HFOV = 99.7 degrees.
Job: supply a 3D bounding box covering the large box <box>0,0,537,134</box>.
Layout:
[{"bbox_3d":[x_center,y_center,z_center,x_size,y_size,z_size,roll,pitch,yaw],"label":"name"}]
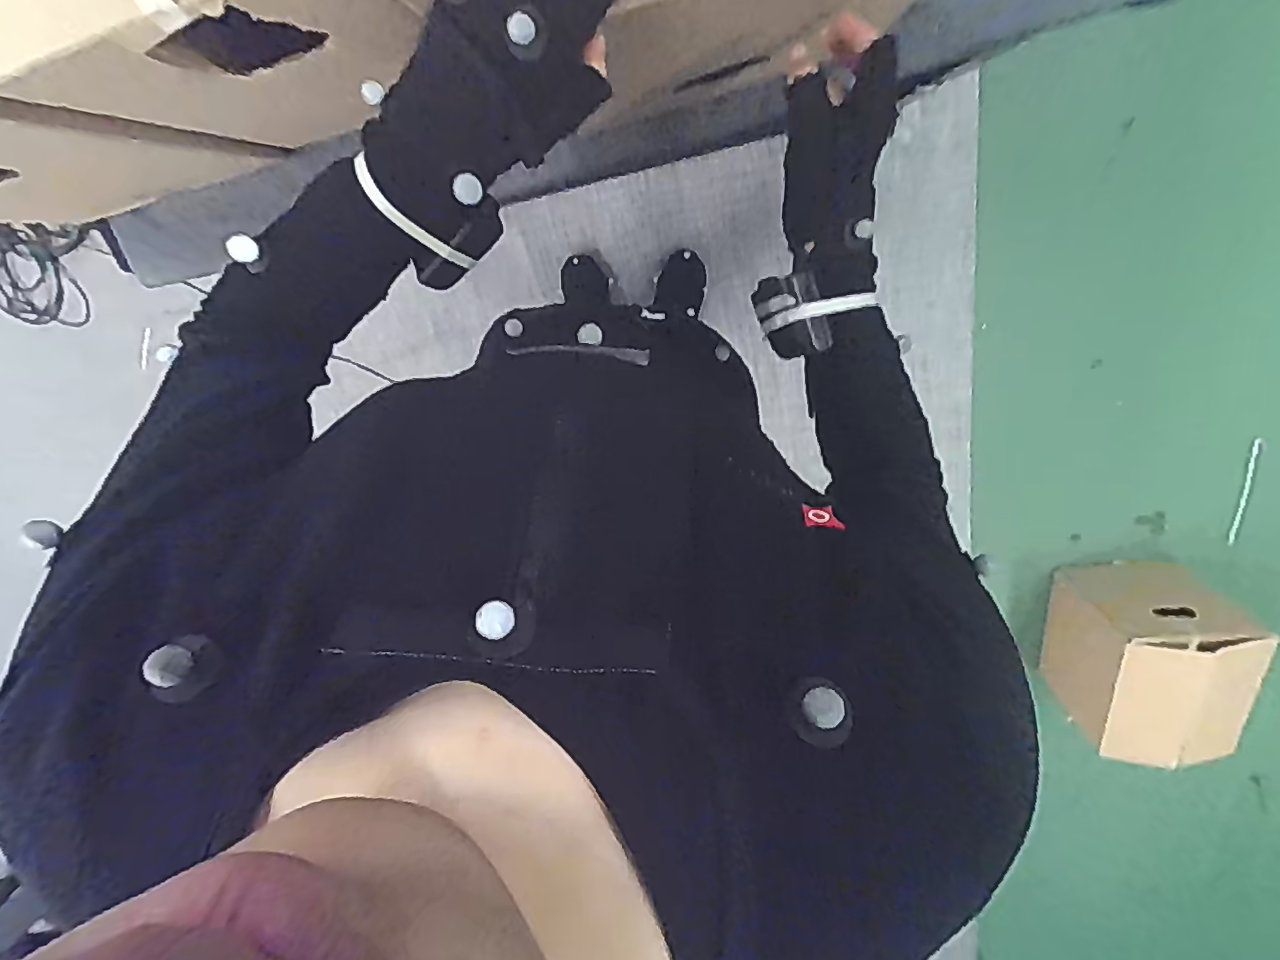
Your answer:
[{"bbox_3d":[-0.310,-0.527,0.374,0.320,0.320,0.408,-10,115,12],"label":"large box"}]
